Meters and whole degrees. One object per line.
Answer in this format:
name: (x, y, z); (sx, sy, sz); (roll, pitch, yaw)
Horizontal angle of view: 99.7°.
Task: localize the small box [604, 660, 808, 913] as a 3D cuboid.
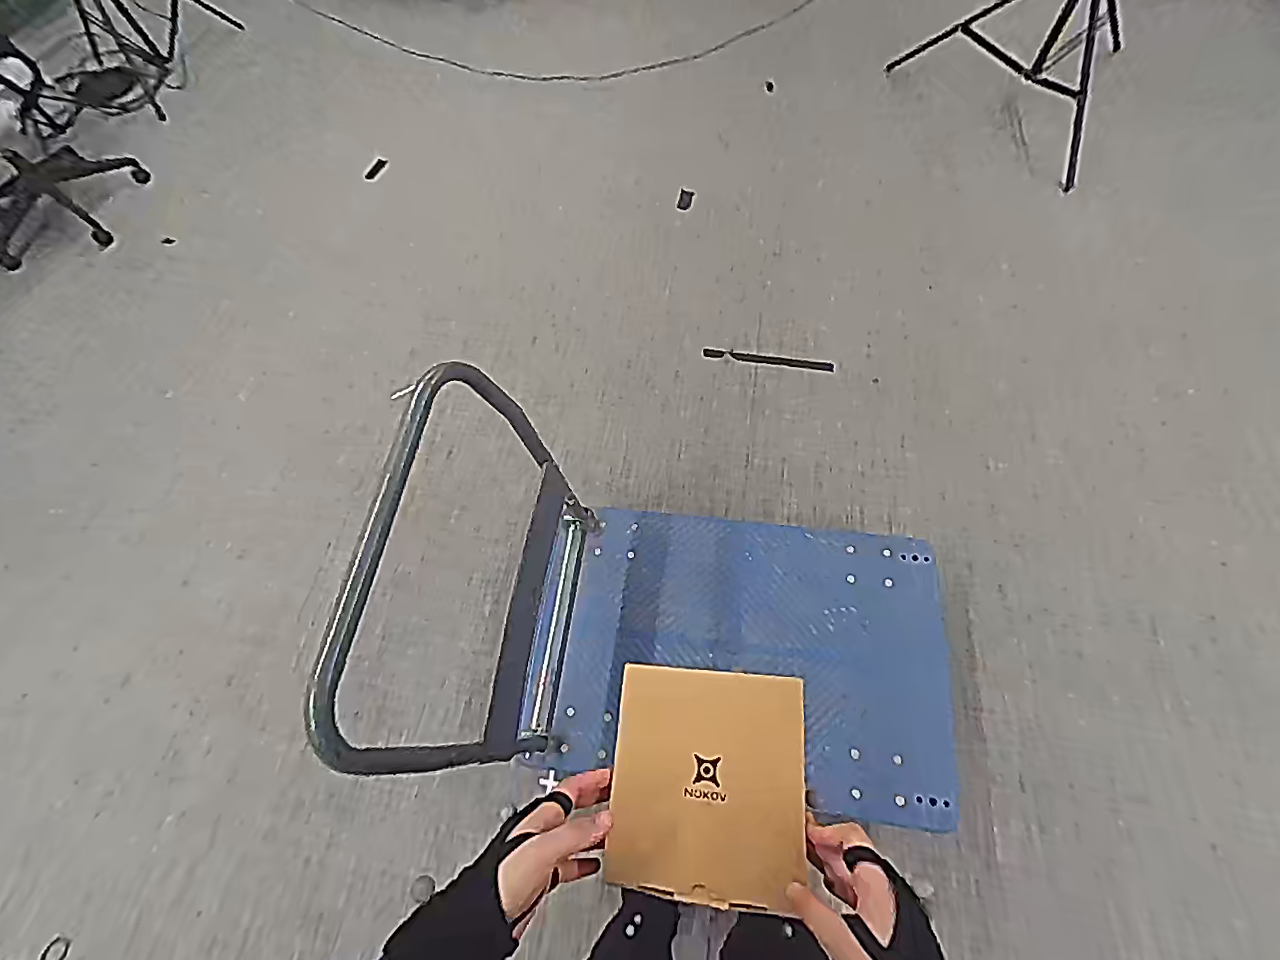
small box: (0.072, 0.286, 0.534); (0.168, 0.176, 0.179); (0, 64, 12)
